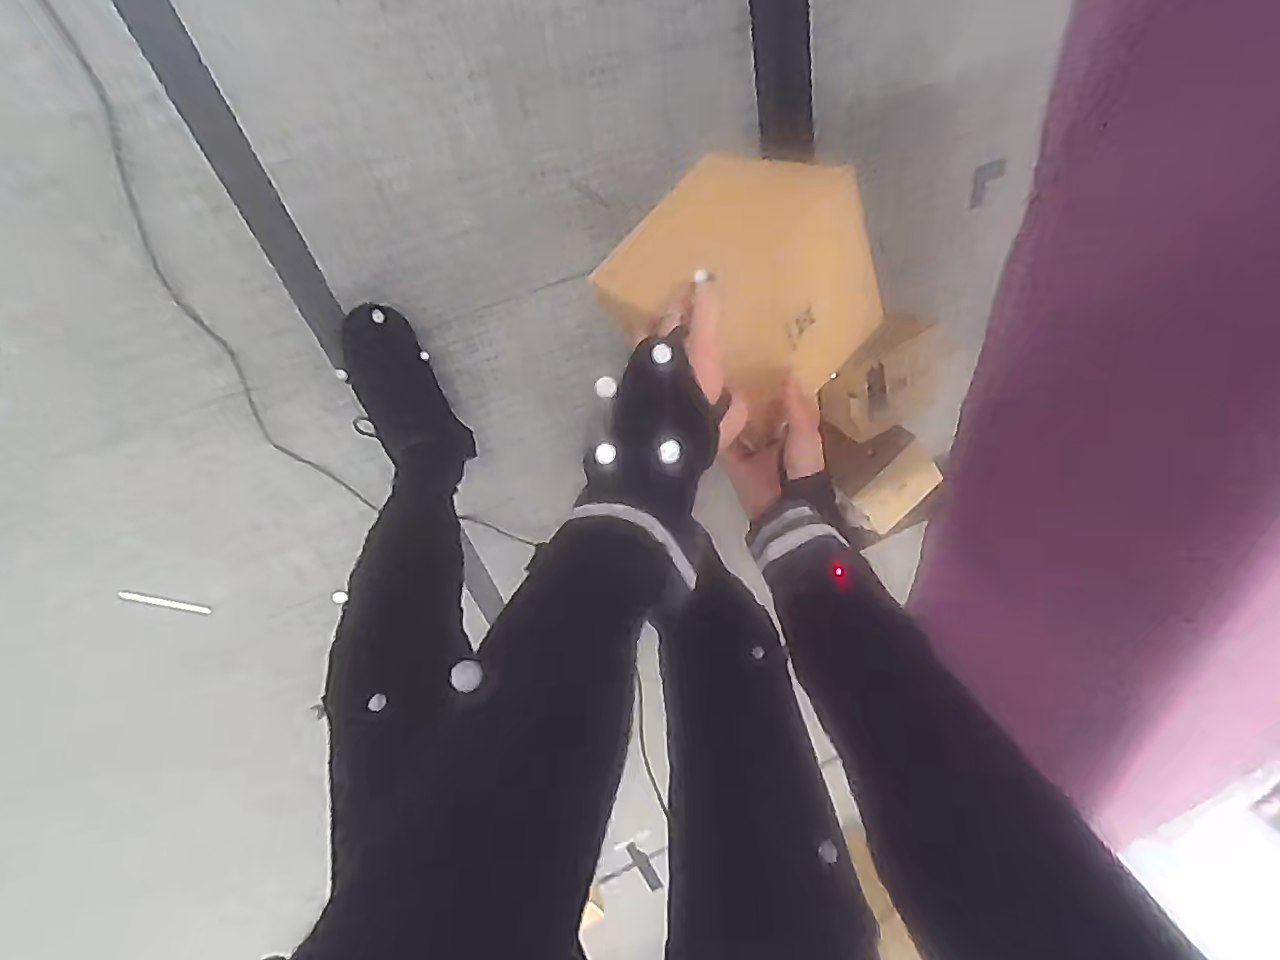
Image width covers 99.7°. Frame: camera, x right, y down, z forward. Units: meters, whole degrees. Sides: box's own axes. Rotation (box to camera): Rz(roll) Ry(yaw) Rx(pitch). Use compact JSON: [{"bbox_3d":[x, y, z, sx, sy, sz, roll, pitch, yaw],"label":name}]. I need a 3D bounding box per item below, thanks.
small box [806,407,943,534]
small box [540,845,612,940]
[{"bbox_3d":[0.493,-0.026,1.152,0.179,0.176,0.168,-46,126,10],"label":"small box"},{"bbox_3d":[-0.213,1.329,1.749,0.179,0.176,0.168,-24,127,-6],"label":"small box"}]
